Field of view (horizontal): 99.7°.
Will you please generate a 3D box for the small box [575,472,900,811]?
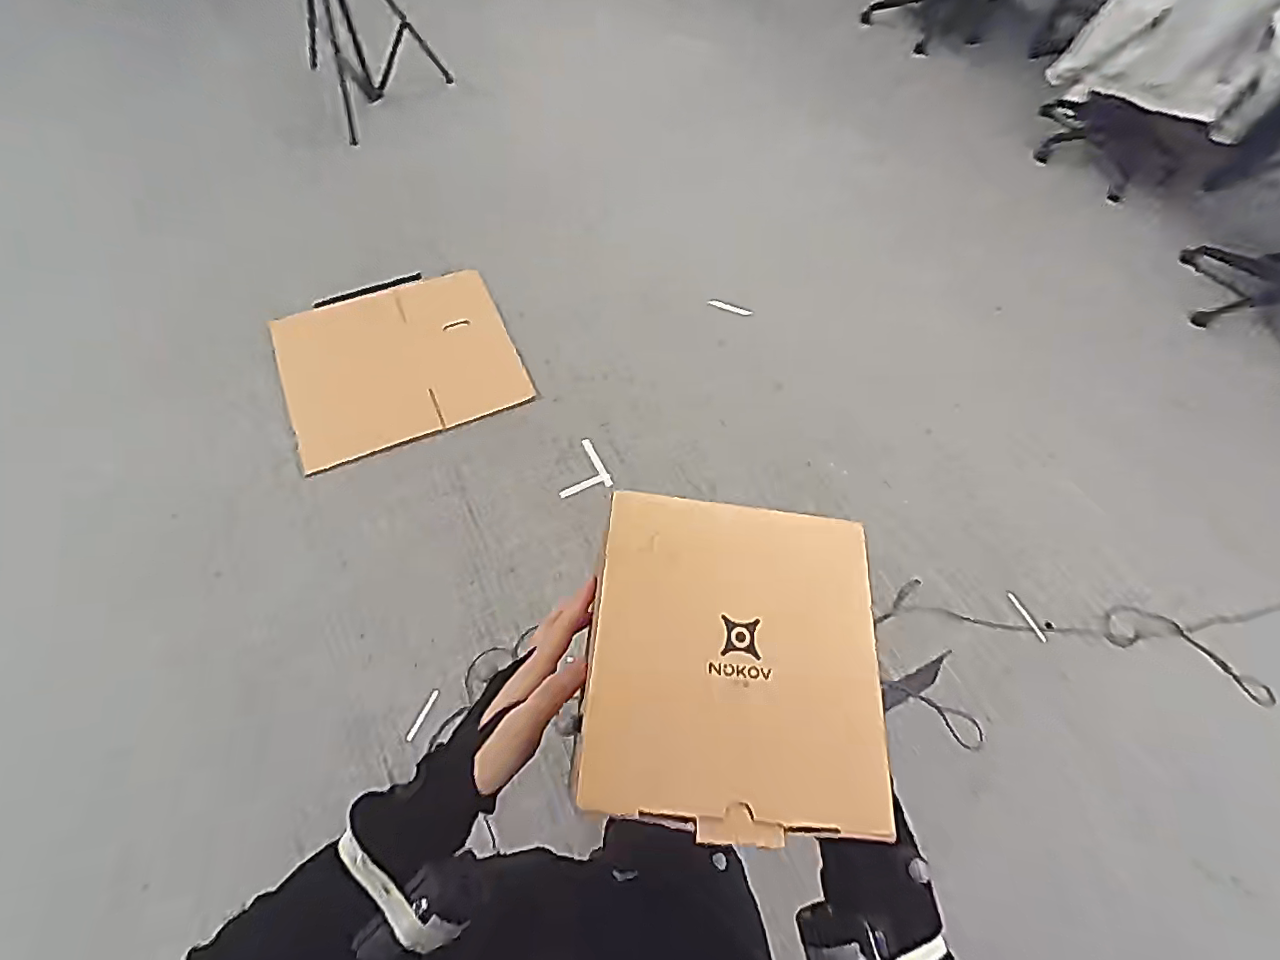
[{"bbox_3d":[0.047,0.118,0.378,0.168,0.176,0.179,8,62,-5],"label":"small box"}]
